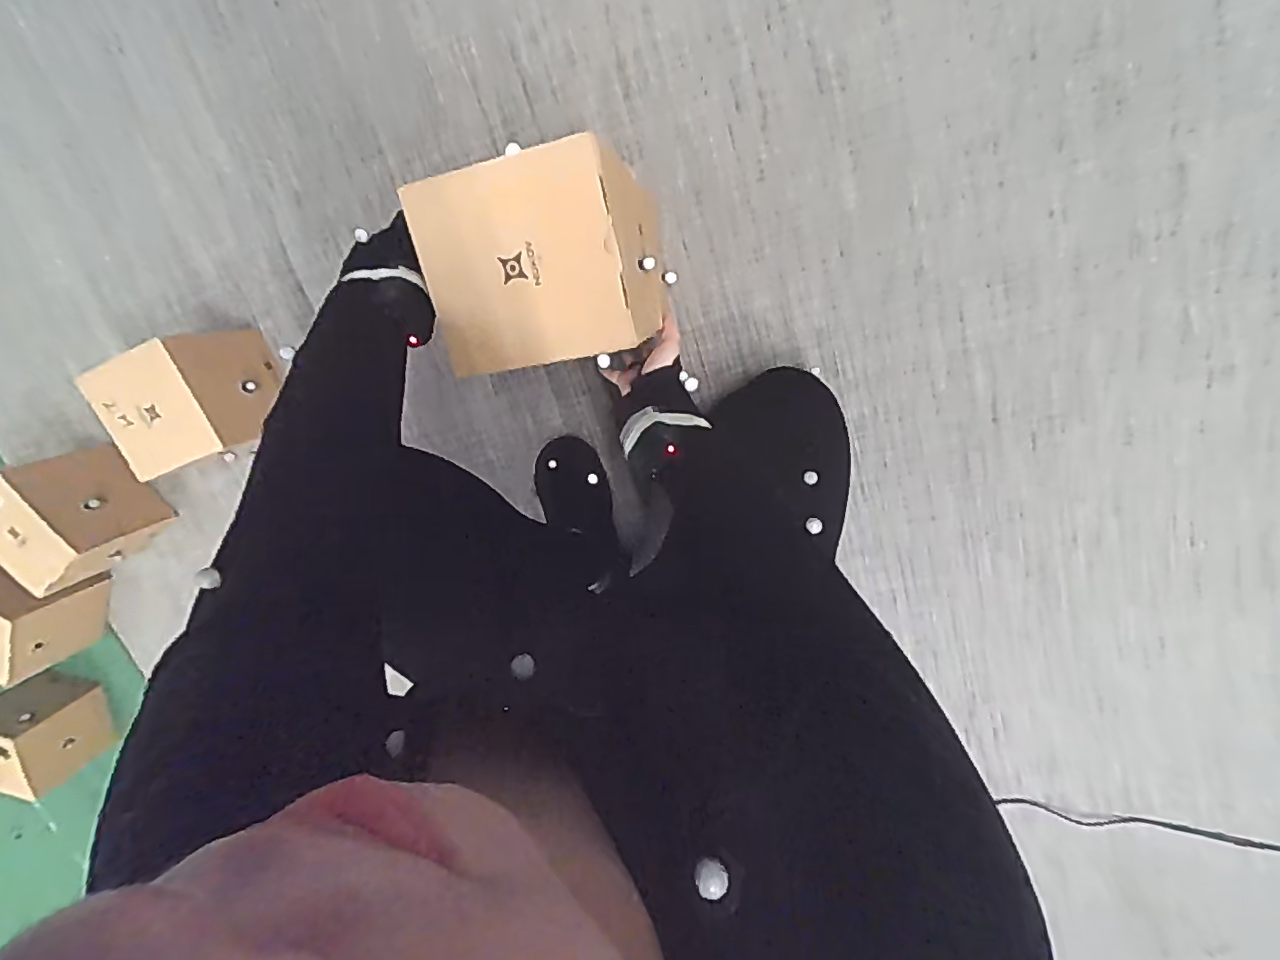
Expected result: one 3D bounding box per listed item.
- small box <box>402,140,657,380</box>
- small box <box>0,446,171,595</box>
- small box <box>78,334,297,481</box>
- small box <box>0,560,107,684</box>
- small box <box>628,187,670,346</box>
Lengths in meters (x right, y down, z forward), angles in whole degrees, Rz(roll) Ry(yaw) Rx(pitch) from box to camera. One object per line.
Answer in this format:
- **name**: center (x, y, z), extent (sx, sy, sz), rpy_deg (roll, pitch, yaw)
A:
- **small box**: center (-0.091, -0.204, 0.535), extent (0.179, 0.176, 0.168), rpy_deg (-8, 108, 12)
- **small box**: center (-1.010, 0.065, 0.967), extent (0.168, 0.176, 0.179), rpy_deg (-33, 101, 19)
- **small box**: center (-0.680, -0.120, 0.841), extent (0.179, 0.176, 0.168), rpy_deg (-17, 105, 15)
- **small box**: center (-1.217, 0.255, 1.070), extent (0.168, 0.176, 0.179), rpy_deg (29, 110, 0)
- **small box**: center (-0.065, -0.255, 0.687), extent (0.179, 0.176, 0.168), rpy_deg (-5, 109, 11)
